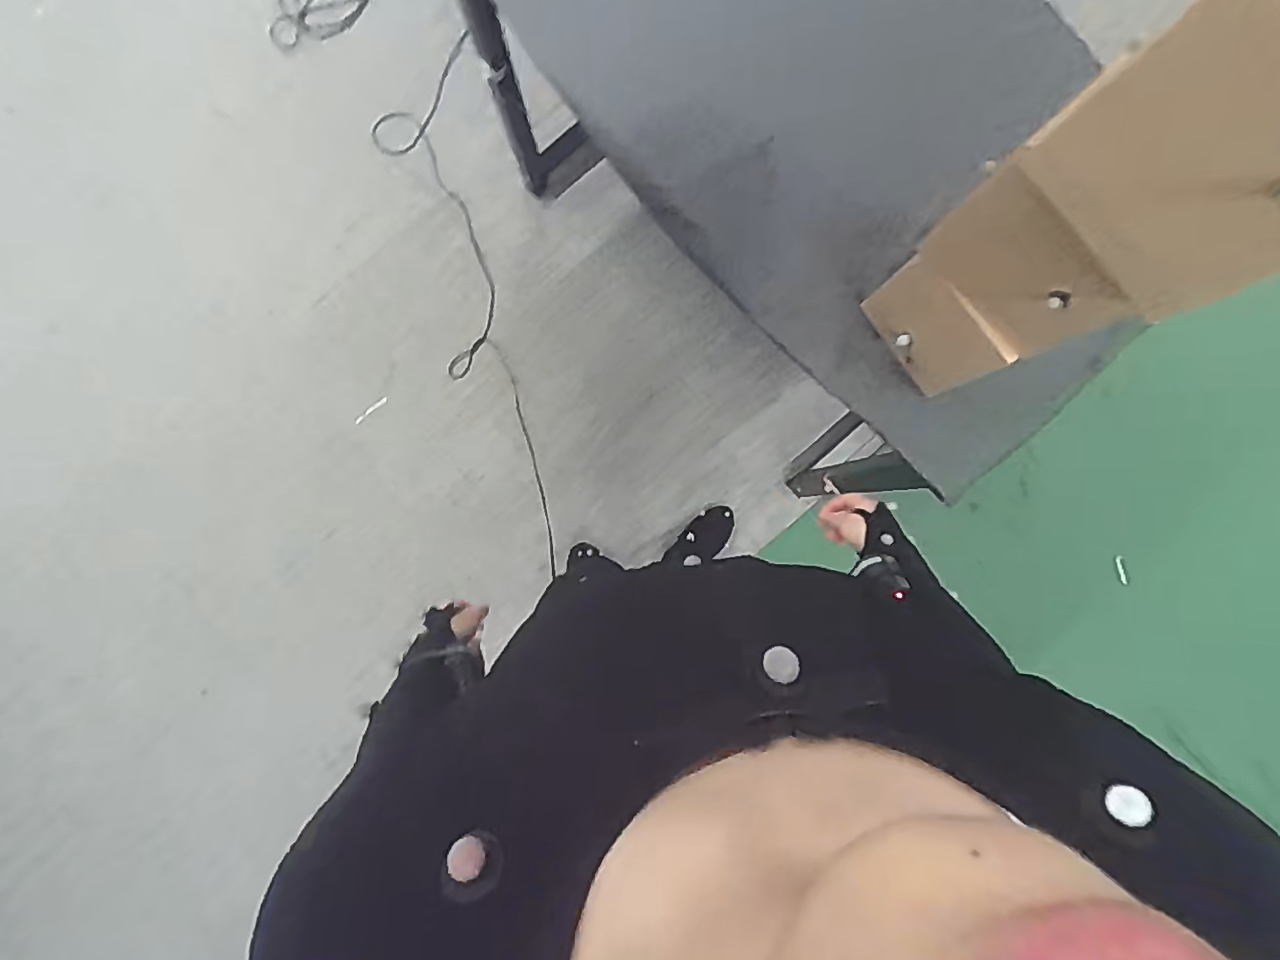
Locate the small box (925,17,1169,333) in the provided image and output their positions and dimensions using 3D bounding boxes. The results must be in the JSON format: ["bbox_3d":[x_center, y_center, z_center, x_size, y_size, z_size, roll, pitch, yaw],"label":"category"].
[{"bbox_3d":[0.427,-0.266,0.520,0.168,0.176,0.179,-42,86,-5],"label":"small box"}]

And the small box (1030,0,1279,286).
[{"bbox_3d":[0.422,-0.255,0.353,0.168,0.176,0.179,-37,87,-5],"label":"small box"}]

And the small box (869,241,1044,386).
[{"bbox_3d":[0.430,-0.244,0.681,0.179,0.176,0.168,-35,86,-3],"label":"small box"}]
